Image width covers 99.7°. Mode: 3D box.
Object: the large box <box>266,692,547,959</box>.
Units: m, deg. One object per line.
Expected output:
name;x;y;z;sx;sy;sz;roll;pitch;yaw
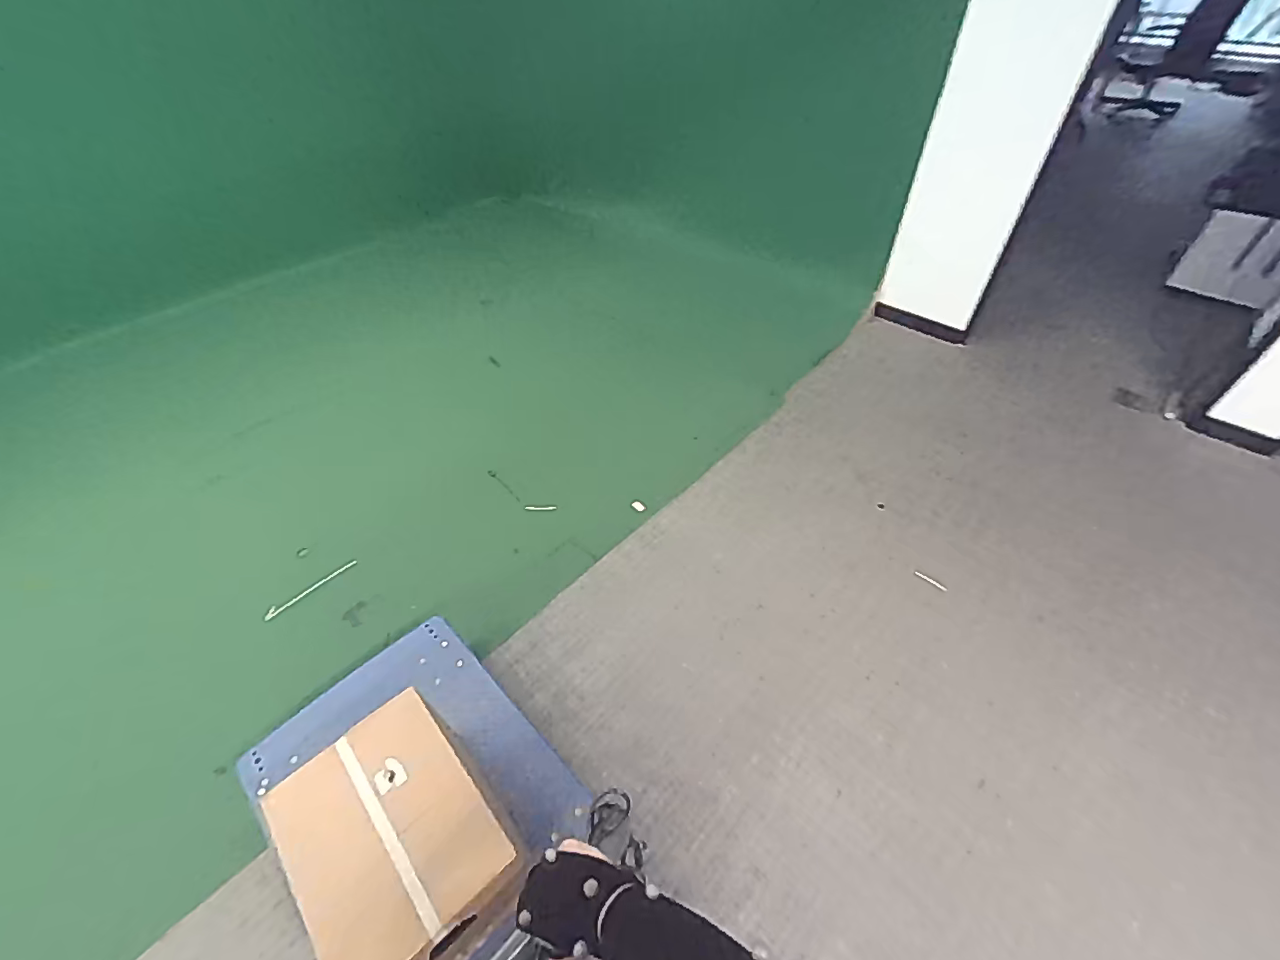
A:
large box;-0.444;0.724;1.078;0.320;0.320;0.408;-35;55;-26
